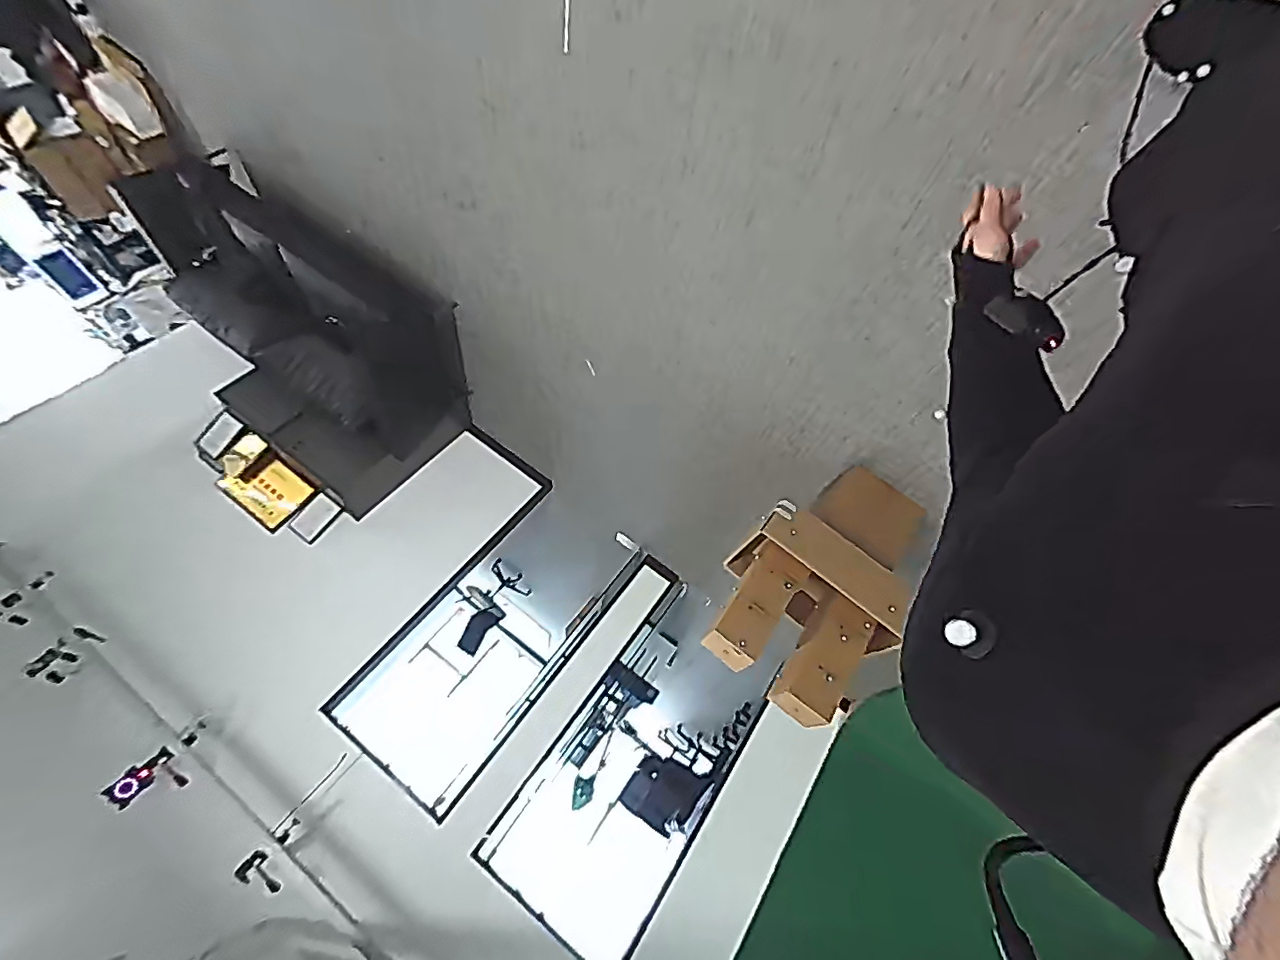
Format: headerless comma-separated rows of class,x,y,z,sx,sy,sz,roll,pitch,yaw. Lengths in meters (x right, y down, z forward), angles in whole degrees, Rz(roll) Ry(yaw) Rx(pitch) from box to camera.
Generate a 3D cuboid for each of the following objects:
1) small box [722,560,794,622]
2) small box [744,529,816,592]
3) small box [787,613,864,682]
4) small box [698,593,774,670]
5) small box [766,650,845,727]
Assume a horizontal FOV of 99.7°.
small box,0.424,0.412,1.930,0.168,0.176,0.179,37,150,10
small box,0.525,0.314,2.015,0.168,0.176,0.179,40,150,6
small box,0.653,0.595,1.896,0.168,0.176,0.179,36,150,9
small box,0.330,0.516,1.845,0.168,0.176,0.179,37,150,9
small box,0.558,0.700,1.815,0.168,0.176,0.179,36,151,8
